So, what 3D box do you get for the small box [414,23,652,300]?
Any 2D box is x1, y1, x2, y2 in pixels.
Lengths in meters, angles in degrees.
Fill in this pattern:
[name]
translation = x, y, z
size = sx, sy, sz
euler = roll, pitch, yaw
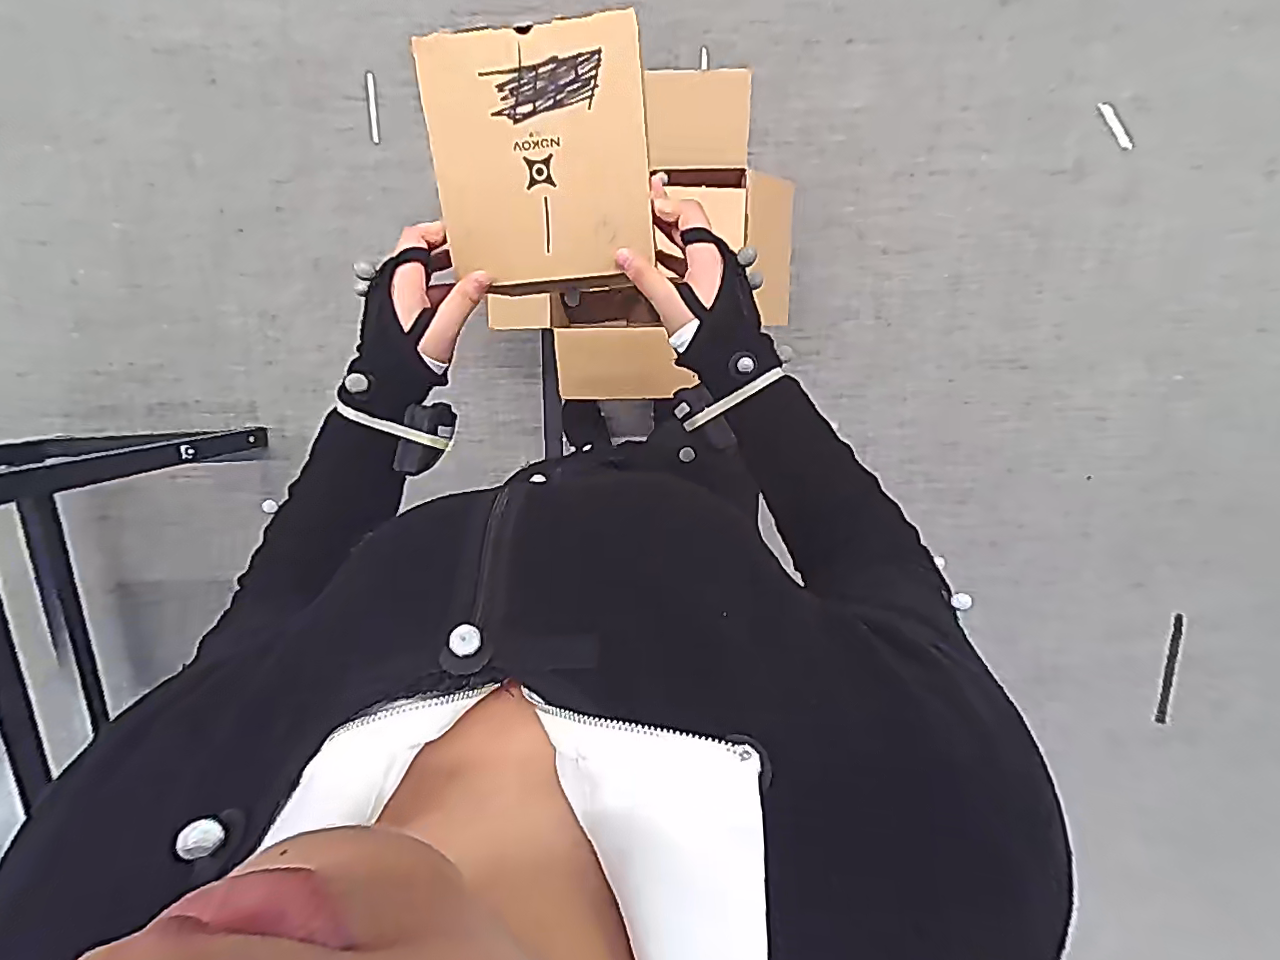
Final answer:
[small box]
translation = -0.077, -0.265, 0.494
size = 0.168, 0.176, 0.179
euler = -4, 107, 4
